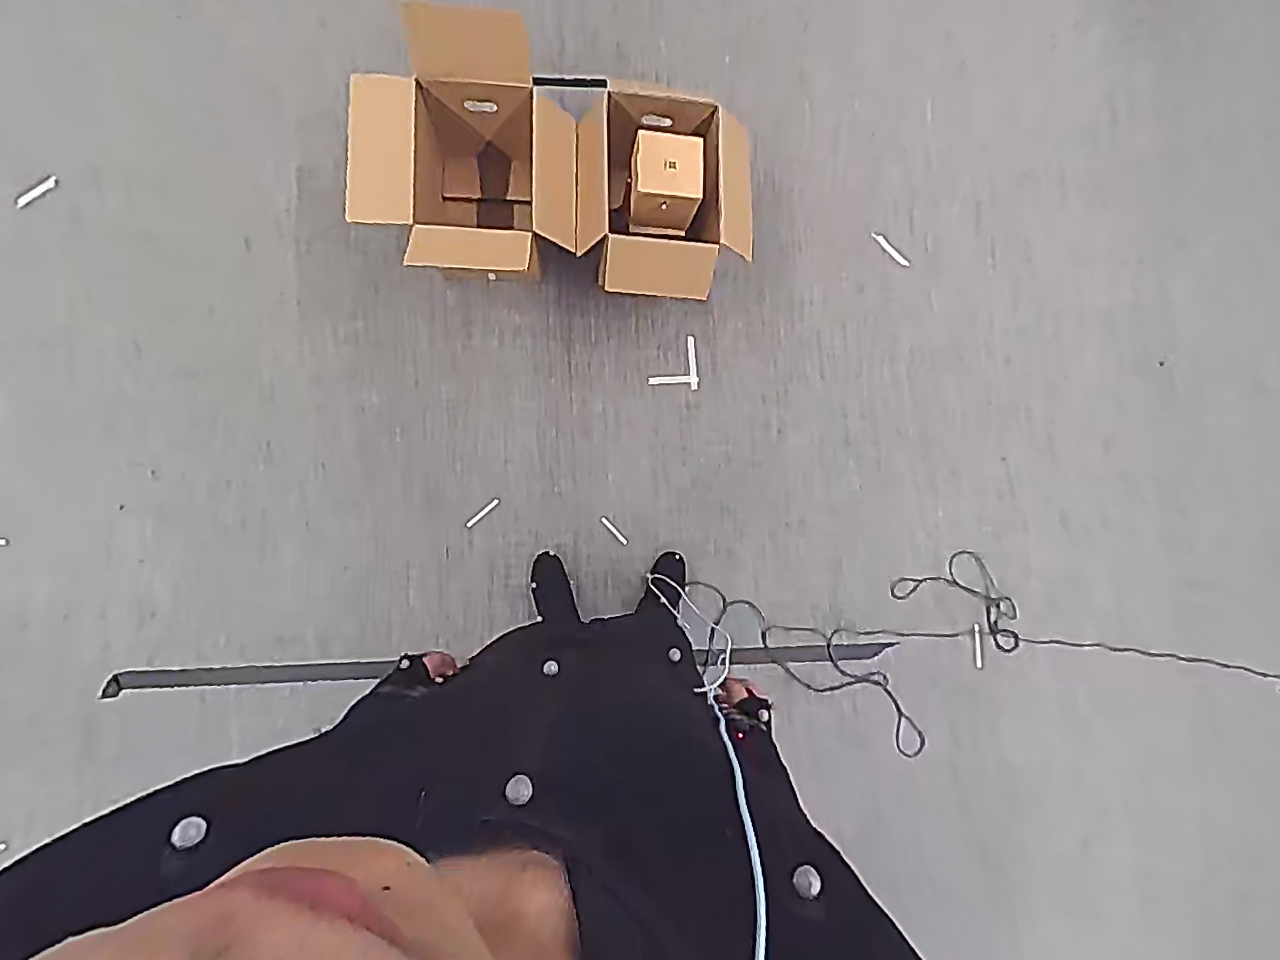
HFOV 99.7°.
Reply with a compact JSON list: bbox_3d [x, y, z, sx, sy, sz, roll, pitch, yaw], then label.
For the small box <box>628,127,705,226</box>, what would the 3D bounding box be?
[{"bbox_3d":[0.068,-0.812,1.465,0.179,0.176,0.168,2,88,-8],"label":"small box"}]
